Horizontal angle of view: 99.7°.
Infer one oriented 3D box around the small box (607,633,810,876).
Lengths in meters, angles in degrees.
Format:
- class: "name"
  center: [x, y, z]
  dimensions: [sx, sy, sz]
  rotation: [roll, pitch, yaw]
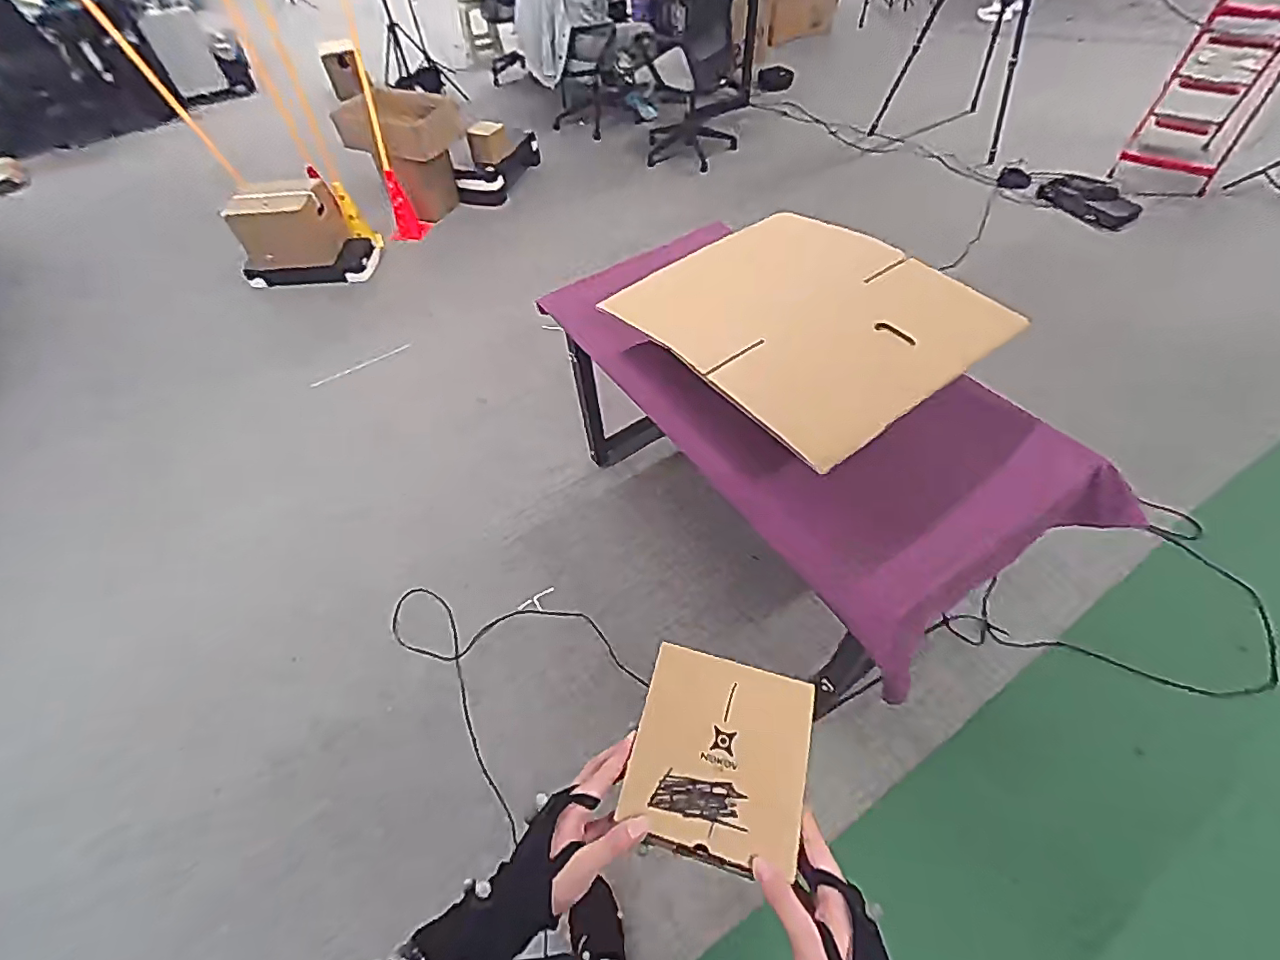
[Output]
- class: "small box"
  center: [0.073, 0.296, 0.583]
  dimensions: [0.168, 0.176, 0.179]
  rotation: [13, 56, 10]
